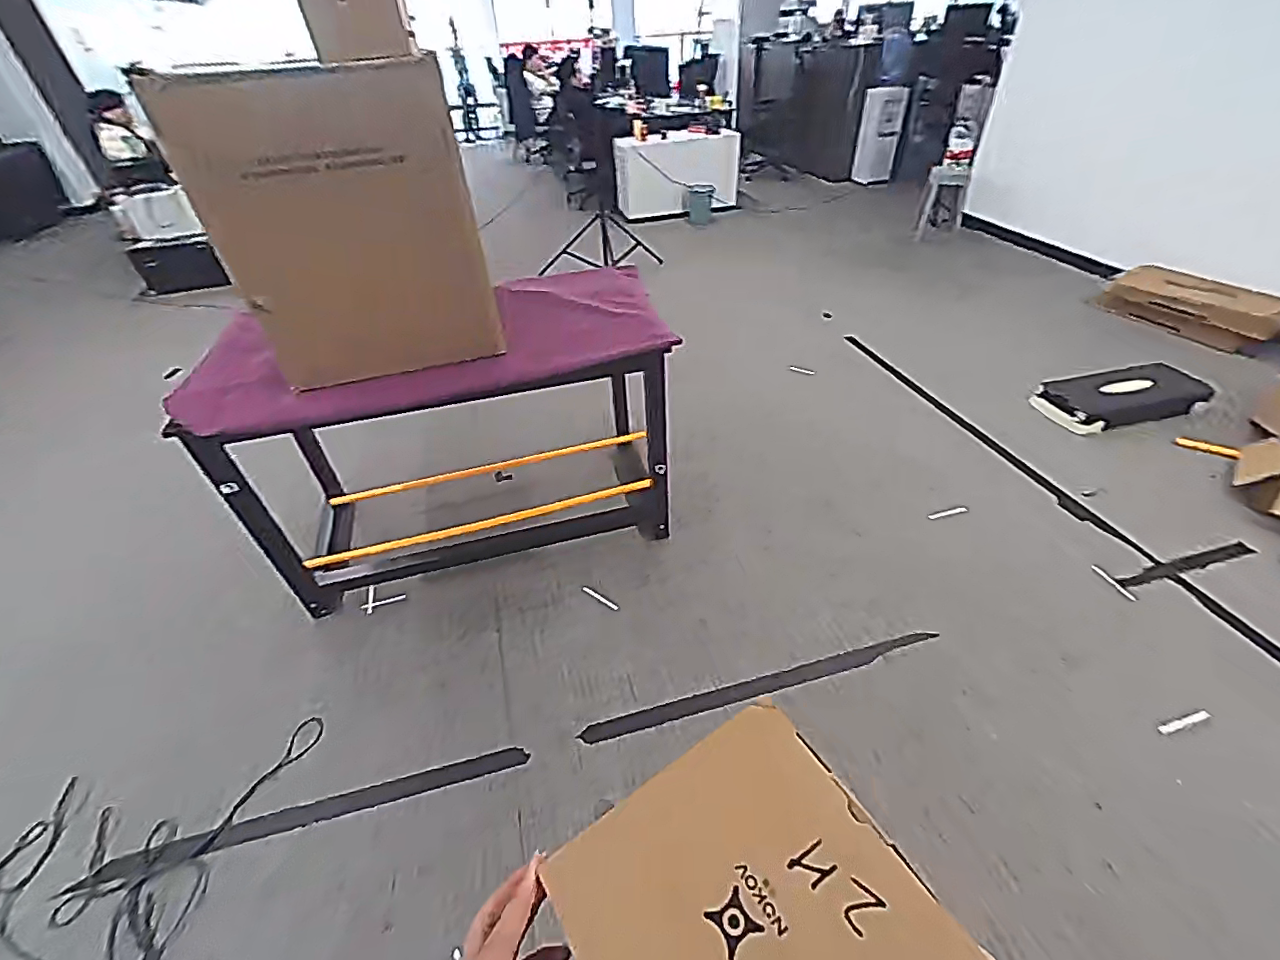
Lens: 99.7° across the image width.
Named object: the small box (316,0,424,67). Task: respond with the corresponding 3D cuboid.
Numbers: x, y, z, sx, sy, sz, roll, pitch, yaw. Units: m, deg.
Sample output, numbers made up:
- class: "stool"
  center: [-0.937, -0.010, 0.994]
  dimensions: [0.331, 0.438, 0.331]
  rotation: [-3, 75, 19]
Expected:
- class: "small box"
  center: [-0.579, -0.993, 1.153]
  dimensions: [0.179, 0.176, 0.168]
  rotation: [-14, 41, -11]
